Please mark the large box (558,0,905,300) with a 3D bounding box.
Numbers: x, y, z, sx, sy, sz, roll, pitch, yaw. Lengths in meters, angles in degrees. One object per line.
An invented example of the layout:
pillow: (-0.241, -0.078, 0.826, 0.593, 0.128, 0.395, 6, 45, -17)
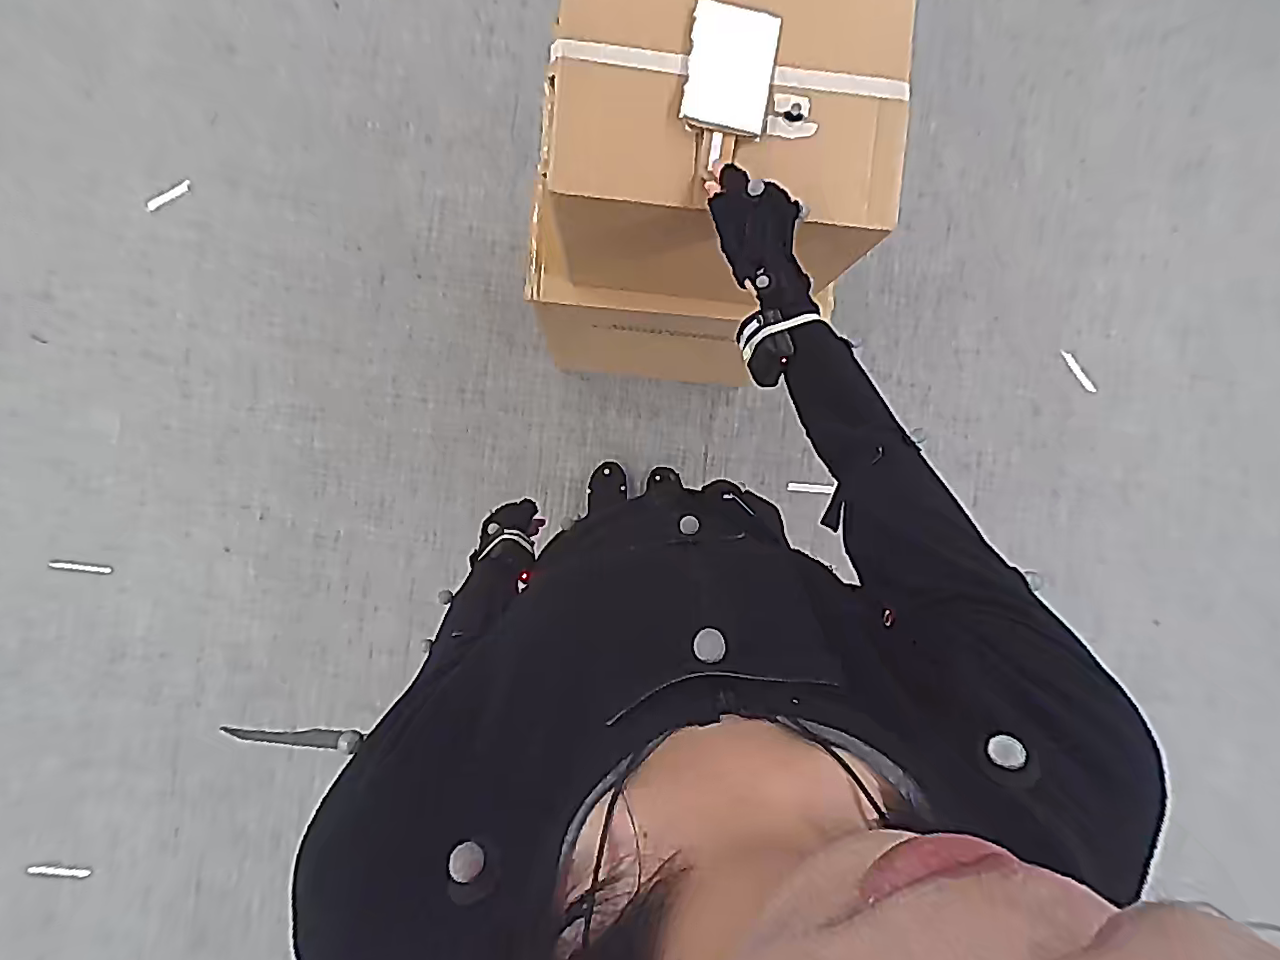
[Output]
large box: (0.099, -0.472, 0.778, 0.408, 0.320, 0.320, 4, 91, -4)
